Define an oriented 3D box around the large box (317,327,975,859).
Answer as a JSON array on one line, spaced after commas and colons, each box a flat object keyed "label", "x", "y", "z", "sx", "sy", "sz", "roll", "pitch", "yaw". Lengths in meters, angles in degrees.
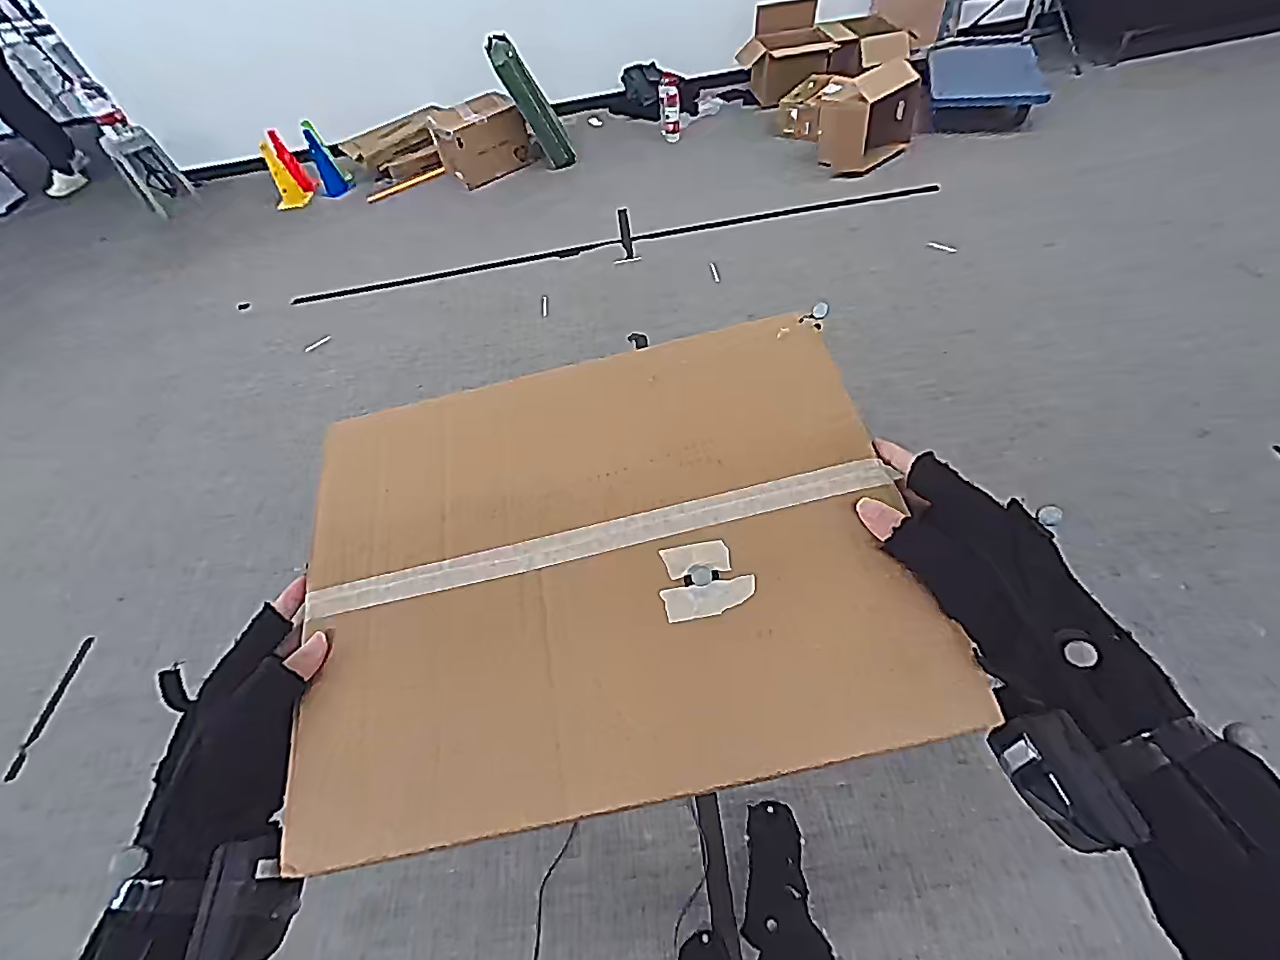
[{"label": "large box", "x": -0.009, "y": 0.116, "z": 0.514, "sx": 0.408, "sy": 0.320, "sz": 0.320, "roll": -13, "pitch": 62, "yaw": 1}]
